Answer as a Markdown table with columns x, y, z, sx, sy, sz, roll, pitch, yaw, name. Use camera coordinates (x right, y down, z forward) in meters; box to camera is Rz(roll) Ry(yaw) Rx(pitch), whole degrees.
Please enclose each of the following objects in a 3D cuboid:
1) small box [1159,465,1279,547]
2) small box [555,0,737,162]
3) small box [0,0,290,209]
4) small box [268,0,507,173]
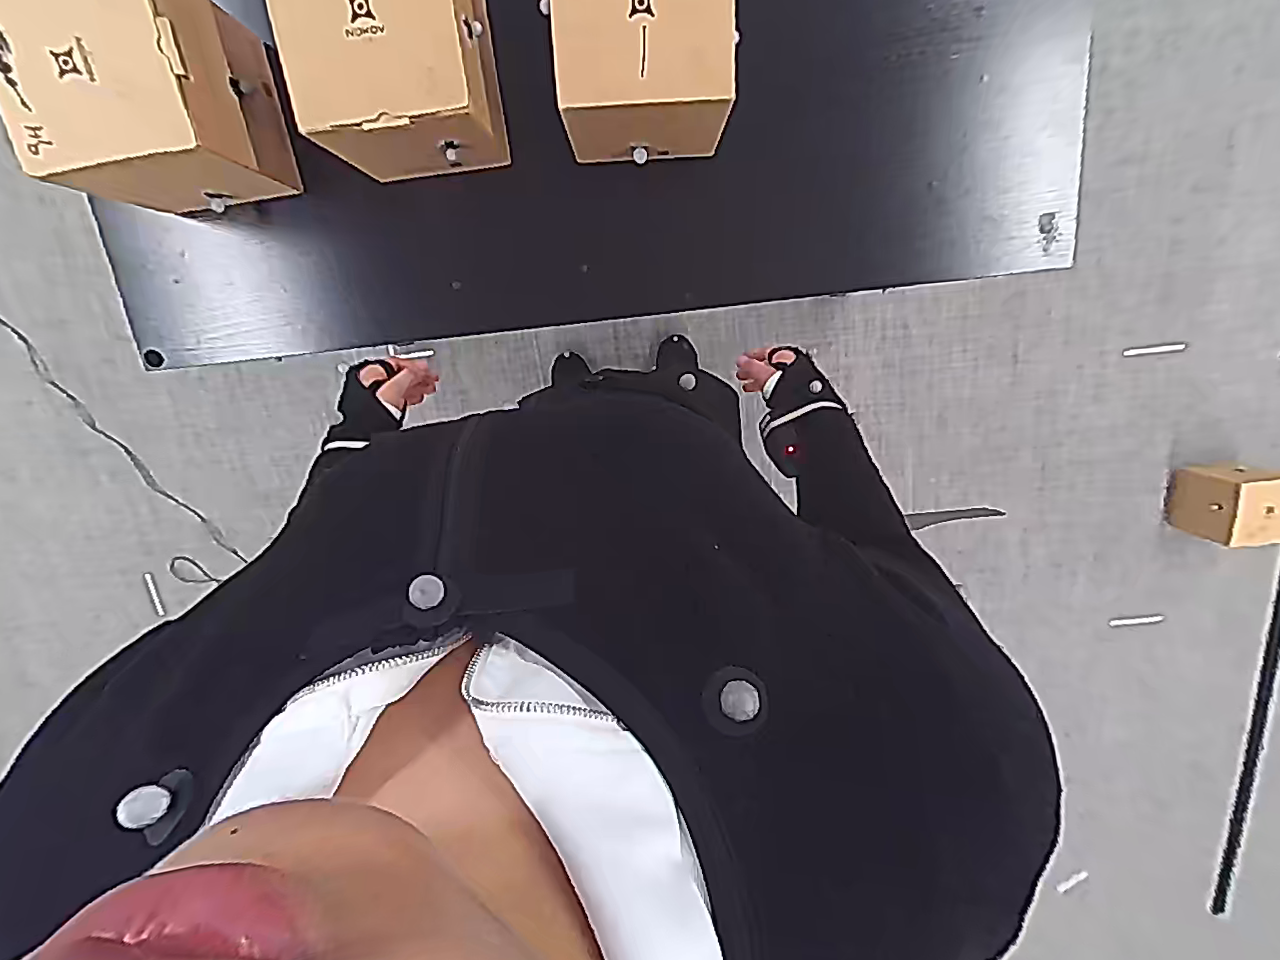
| x | y | z | sx | sy | sz | roll | pitch | yaw | name |
| --- | --- | --- | --- | --- | --- | --- | --- | --- | --- |
| 1.556 | 0.062 | 1.450 | 0.168 | 0.176 | 0.179 | -6 | 106 | 2 | small box |
| 0.003 | -0.450 | 0.554 | 0.168 | 0.176 | 0.179 | -2 | 106 | 0 | small box |
| -0.505 | -0.399 | 0.565 | 0.179 | 0.176 | 0.168 | -9 | 104 | 1 | small box |
| -0.246 | -0.436 | 0.558 | 0.168 | 0.176 | 0.179 | -7 | 104 | 1 | small box |
